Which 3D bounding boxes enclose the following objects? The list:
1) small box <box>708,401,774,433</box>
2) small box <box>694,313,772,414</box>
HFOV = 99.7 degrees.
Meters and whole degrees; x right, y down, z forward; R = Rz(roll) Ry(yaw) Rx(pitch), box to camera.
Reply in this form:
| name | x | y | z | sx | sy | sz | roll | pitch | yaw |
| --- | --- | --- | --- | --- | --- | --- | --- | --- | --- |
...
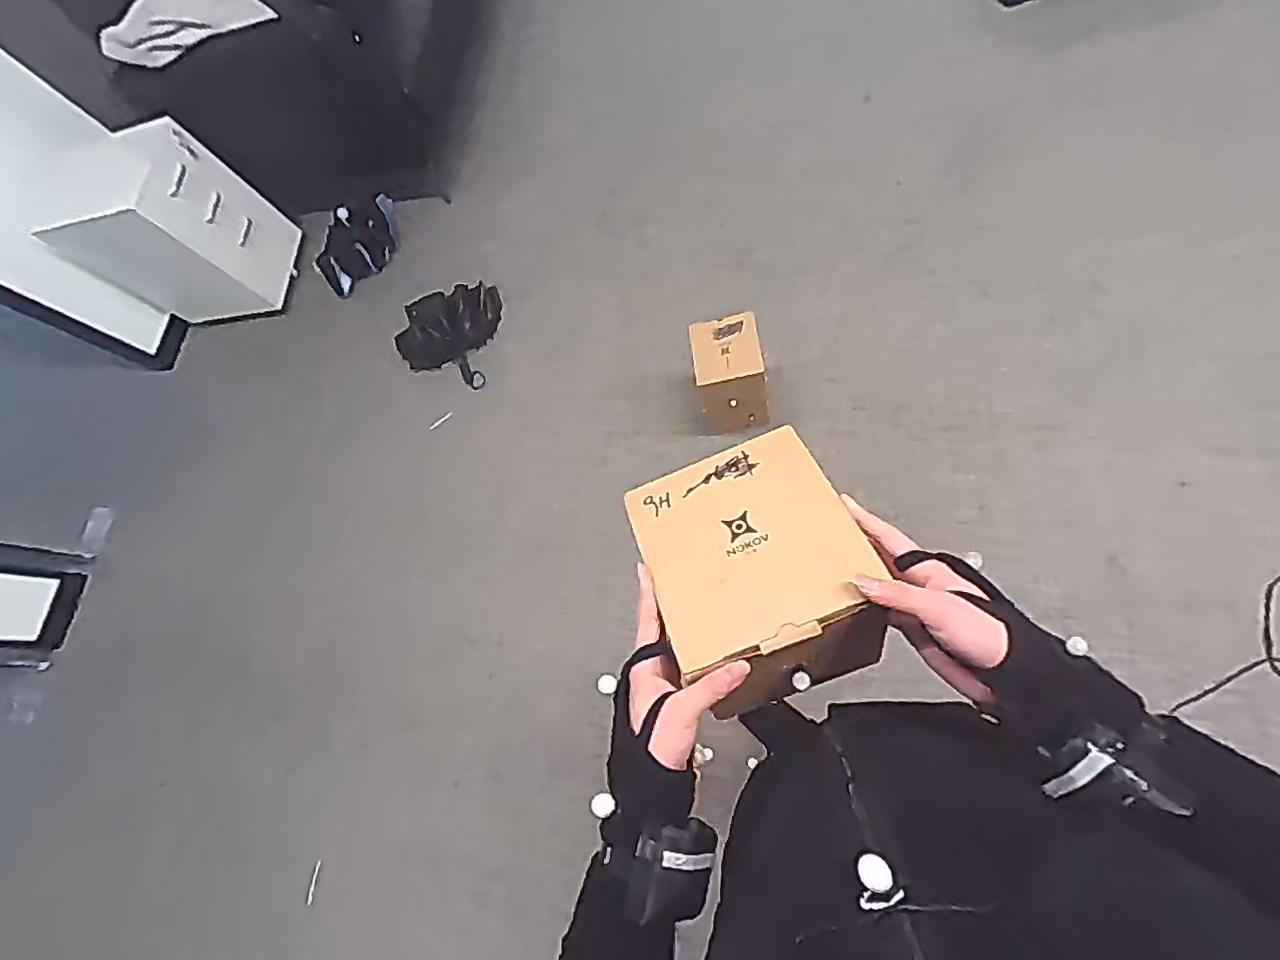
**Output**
| name | x | y | z | sx | sy | sz | roll | pitch | yaw |
| --- | --- | --- | --- | --- | --- | --- | --- | --- | --- |
| small box | 0.281 | -0.245 | 1.538 | 0.168 | 0.176 | 0.179 | -11 | 68 | 13 |
| small box | 0.240 | -0.292 | 1.385 | 0.168 | 0.176 | 0.179 | -10 | 71 | 14 |
